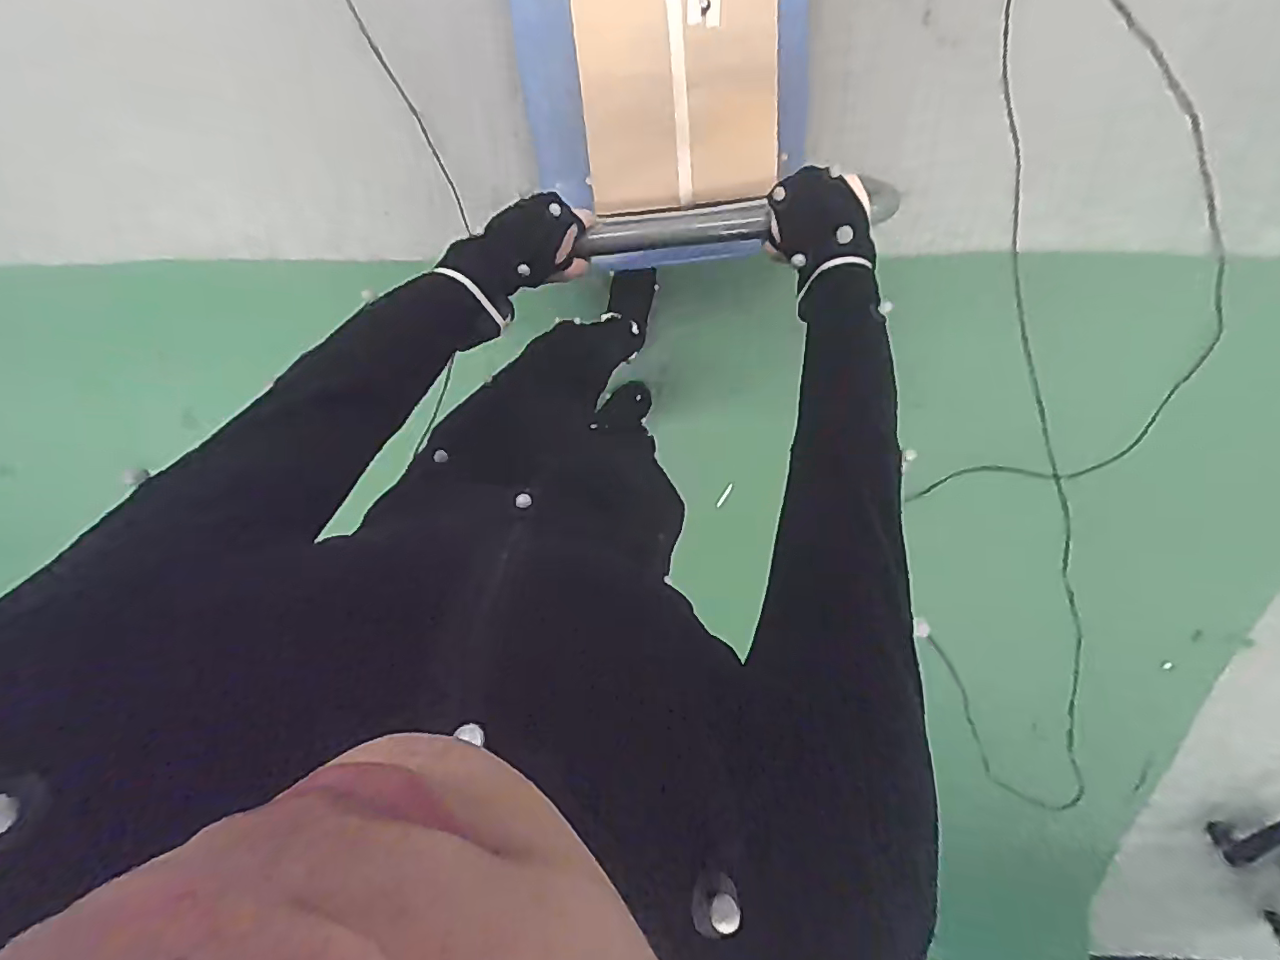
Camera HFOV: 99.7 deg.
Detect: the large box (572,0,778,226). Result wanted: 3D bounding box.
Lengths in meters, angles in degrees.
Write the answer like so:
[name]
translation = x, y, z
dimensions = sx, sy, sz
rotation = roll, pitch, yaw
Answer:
[large box]
translation = 0.067, -0.710, 0.994
dimensions = 0.320, 0.320, 0.408
rotation = -4, 112, 4
